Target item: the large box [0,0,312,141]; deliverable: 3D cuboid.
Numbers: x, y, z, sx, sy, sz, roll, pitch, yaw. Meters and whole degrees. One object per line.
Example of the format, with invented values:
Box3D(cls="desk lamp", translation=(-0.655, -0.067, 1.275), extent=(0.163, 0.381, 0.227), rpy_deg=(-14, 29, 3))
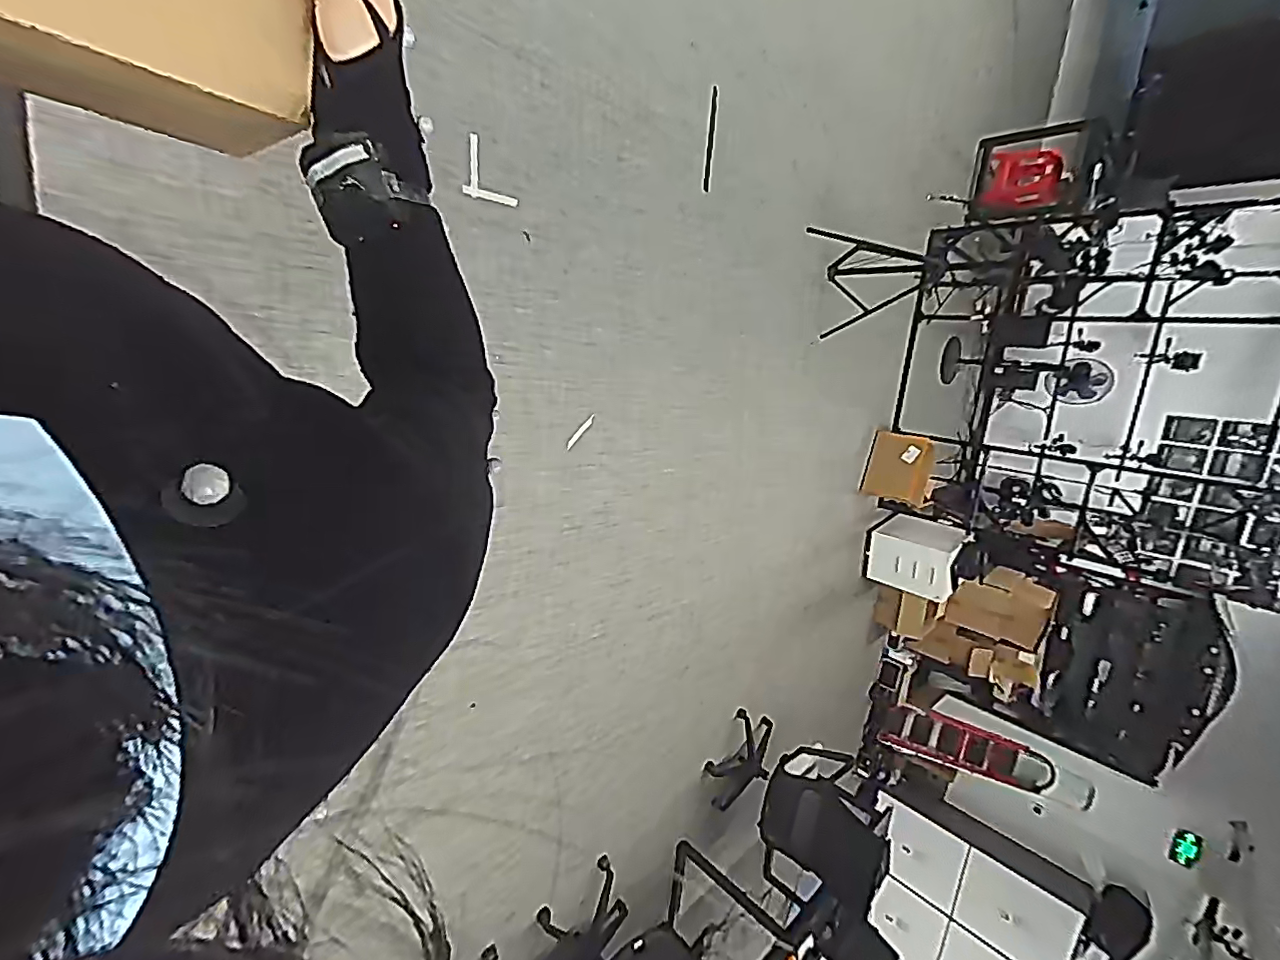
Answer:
Box3D(cls="large box", translation=(-0.452, -0.451, 0.321), extent=(0.408, 0.320, 0.320), rpy_deg=(-2, 110, -43))
